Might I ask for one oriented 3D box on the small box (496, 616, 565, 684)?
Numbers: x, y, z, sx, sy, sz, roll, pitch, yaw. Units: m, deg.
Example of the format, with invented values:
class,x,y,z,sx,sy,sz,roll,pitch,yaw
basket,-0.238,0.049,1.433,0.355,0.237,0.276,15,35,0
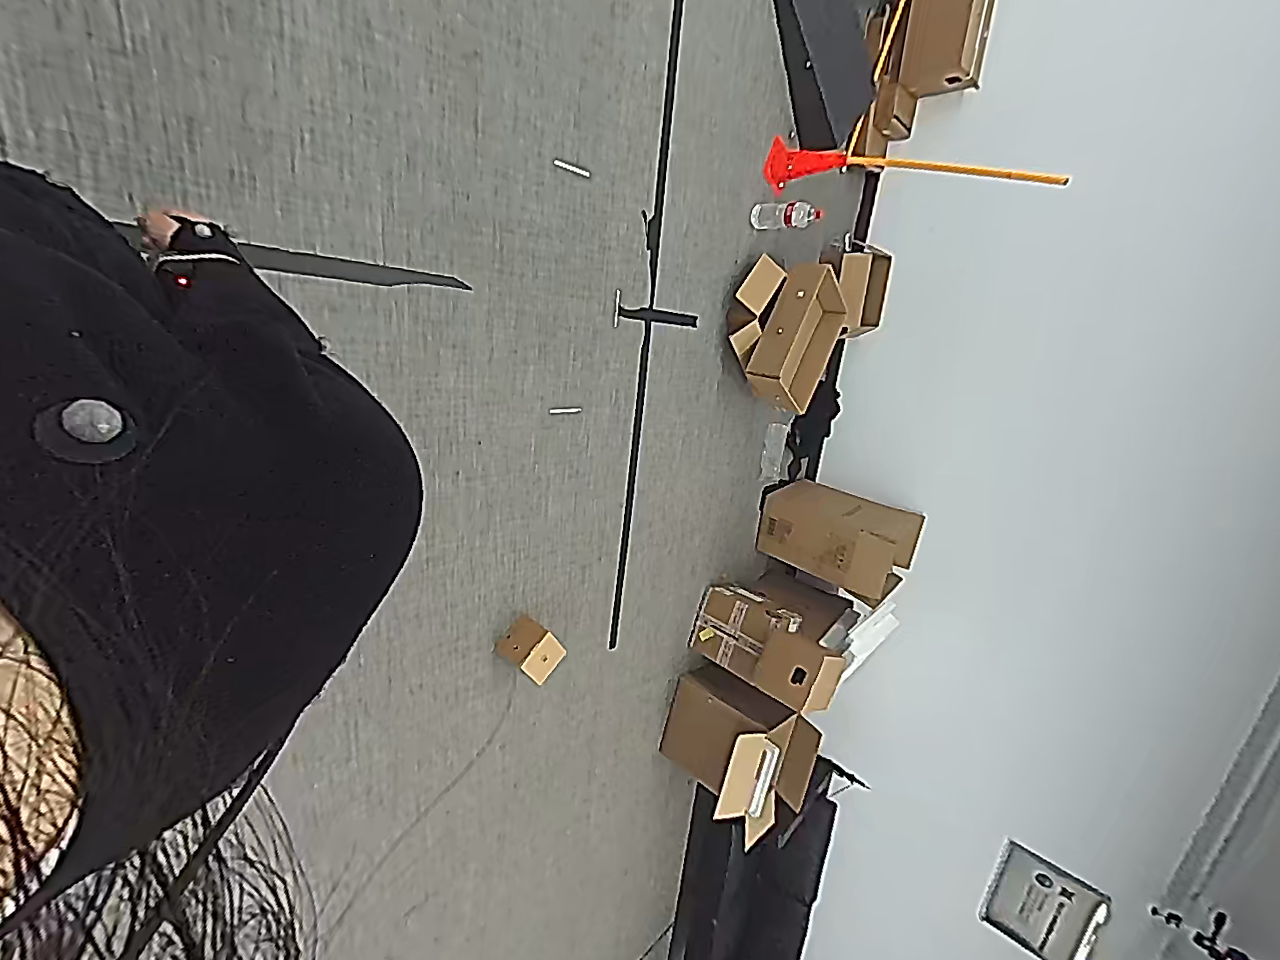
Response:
class,x,y,z,sx,sy,sz,roll,pitch,yaw
small box,-0.433,0.661,2.122,0.168,0.176,0.179,-49,139,-23
